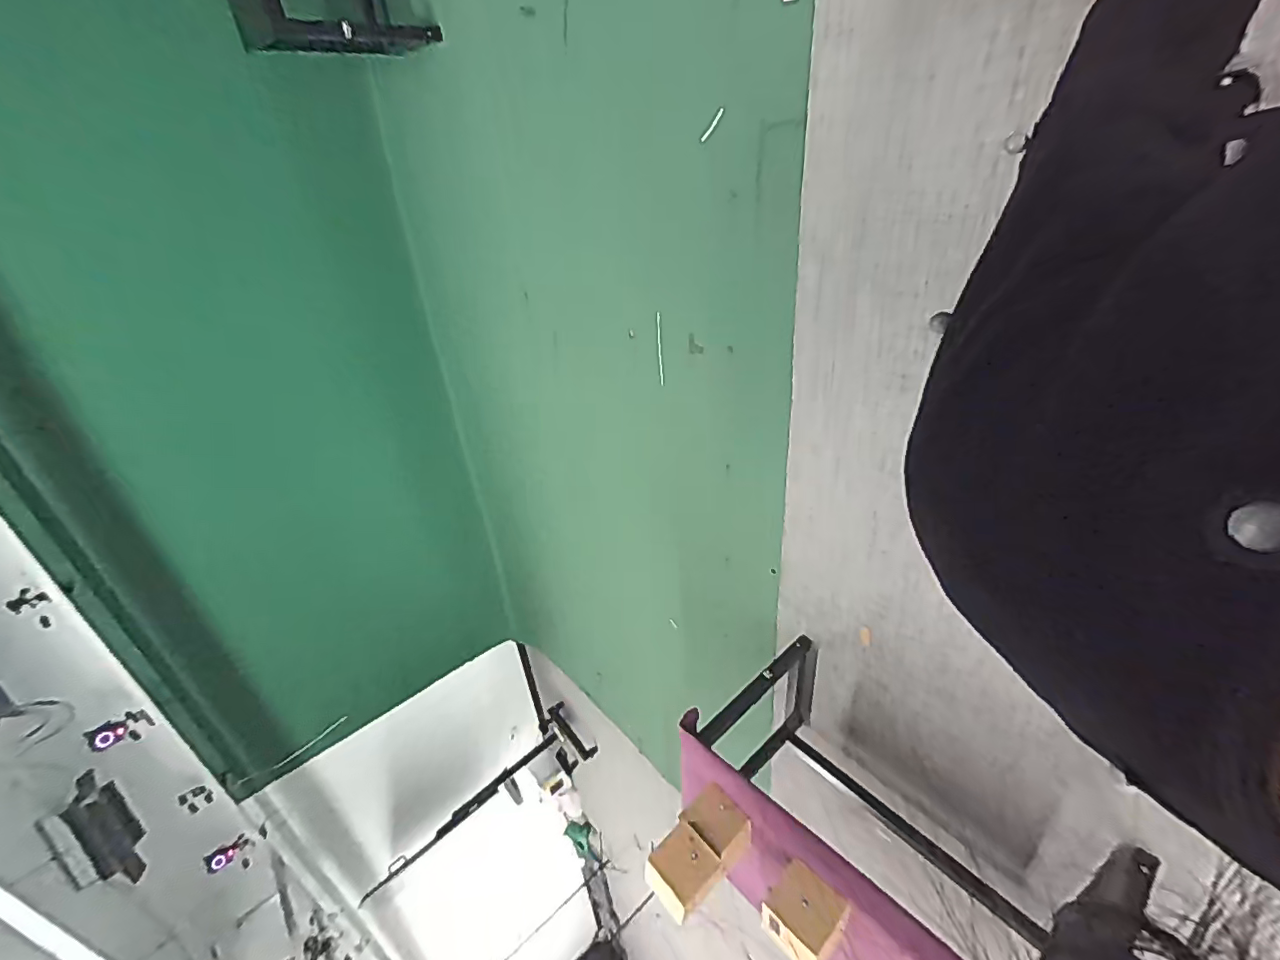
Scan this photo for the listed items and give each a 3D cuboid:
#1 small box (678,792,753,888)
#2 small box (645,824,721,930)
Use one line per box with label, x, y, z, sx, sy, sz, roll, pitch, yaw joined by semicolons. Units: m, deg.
small box;0.246;1.159;1.761;0.179;0.176;0.168;27;134;43
small box;0.131;1.209;1.654;0.168;0.176;0.179;34;137;37
